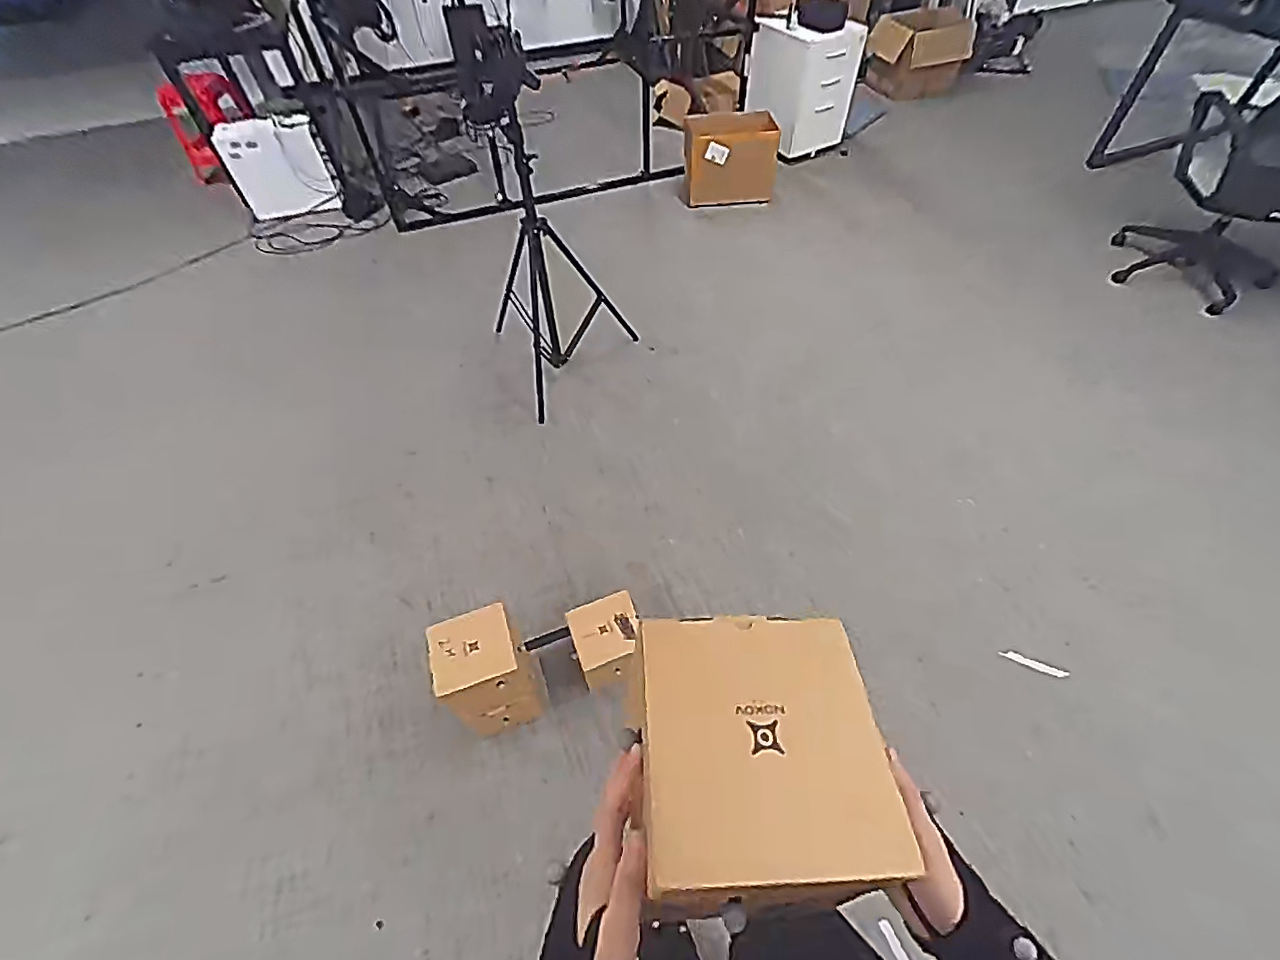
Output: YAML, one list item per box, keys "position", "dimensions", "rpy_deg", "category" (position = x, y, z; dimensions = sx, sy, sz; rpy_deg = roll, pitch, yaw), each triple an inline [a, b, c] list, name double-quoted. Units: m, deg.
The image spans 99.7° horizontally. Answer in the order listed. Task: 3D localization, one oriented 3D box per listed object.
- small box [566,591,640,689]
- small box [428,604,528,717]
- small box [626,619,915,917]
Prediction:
- position: [-0.081, 0.422, 1.417]
  dimensions: [0.179, 0.176, 0.168]
  rpy_deg: [-19, 55, -10]
  category: "small box"
- position: [-0.361, 0.412, 1.228]
  dimensions: [0.179, 0.176, 0.168]
  rpy_deg: [-17, 53, -11]
  category: "small box"
- position: [0.077, 0.231, 0.432]
  dimensions: [0.168, 0.176, 0.179]
  rpy_deg: [1, 44, -5]
  category: "small box"
